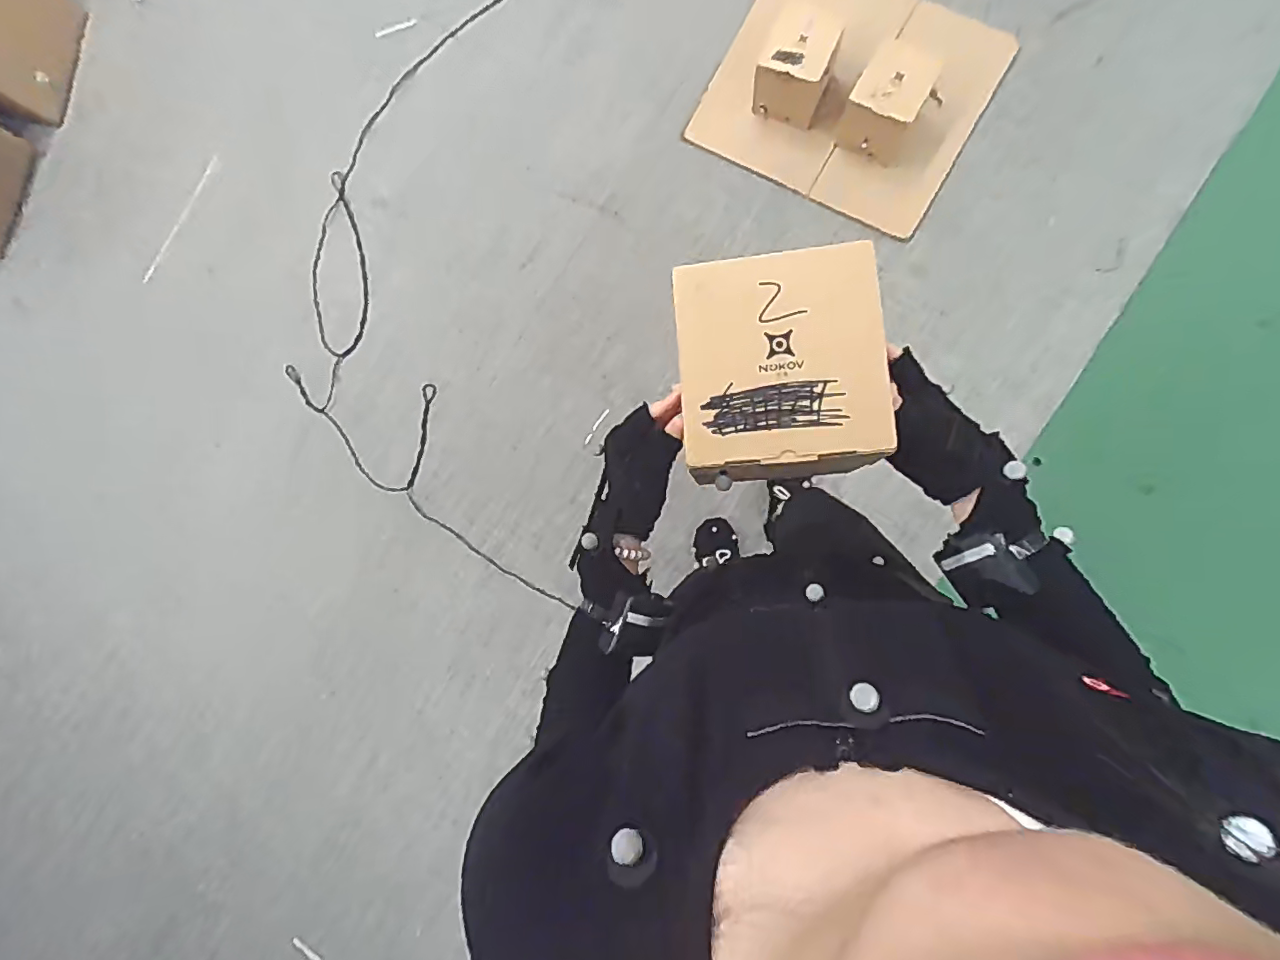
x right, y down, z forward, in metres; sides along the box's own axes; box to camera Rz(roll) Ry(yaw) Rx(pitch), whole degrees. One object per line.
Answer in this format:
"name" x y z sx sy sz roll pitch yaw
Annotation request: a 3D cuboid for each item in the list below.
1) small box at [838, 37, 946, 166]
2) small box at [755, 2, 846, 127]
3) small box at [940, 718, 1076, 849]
"small box" 0.629 -0.956 1.379 0.168 0.176 0.179 30 92 9
"small box" 0.408 -1.072 1.410 0.168 0.176 0.179 25 90 8
"small box" 0.858 0.707 1.284 0.168 0.176 0.179 40 93 7
